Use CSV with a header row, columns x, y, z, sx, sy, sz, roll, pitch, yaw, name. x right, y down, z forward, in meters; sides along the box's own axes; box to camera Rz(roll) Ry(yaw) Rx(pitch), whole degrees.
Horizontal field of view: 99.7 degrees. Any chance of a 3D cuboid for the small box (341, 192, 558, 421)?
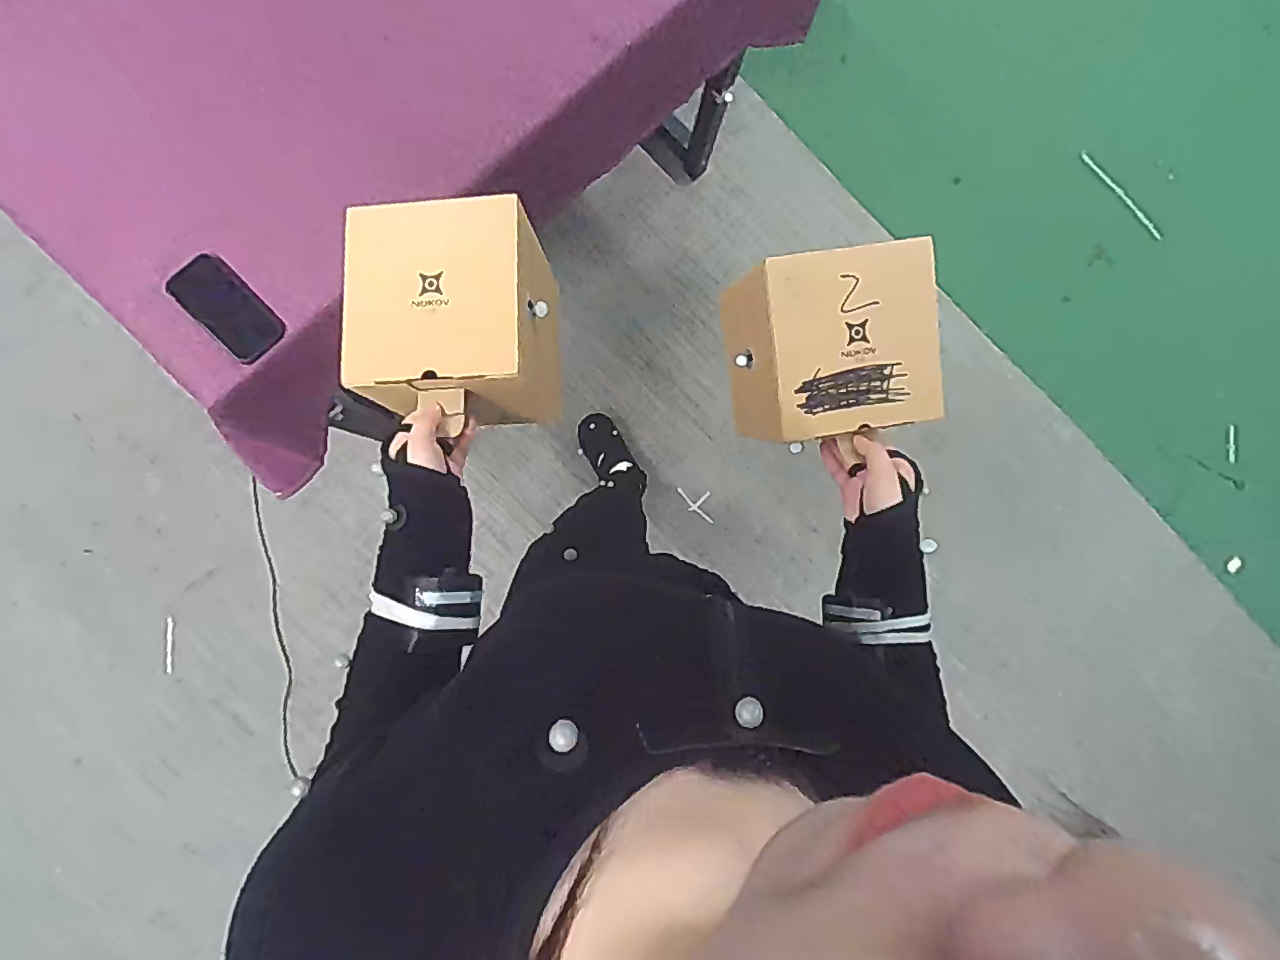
x,y,z,sx,sy,sz,roll,pitch,yaw,name
-0.185,-0.167,0.569,0.168,0.176,0.179,-3,84,3,small box
